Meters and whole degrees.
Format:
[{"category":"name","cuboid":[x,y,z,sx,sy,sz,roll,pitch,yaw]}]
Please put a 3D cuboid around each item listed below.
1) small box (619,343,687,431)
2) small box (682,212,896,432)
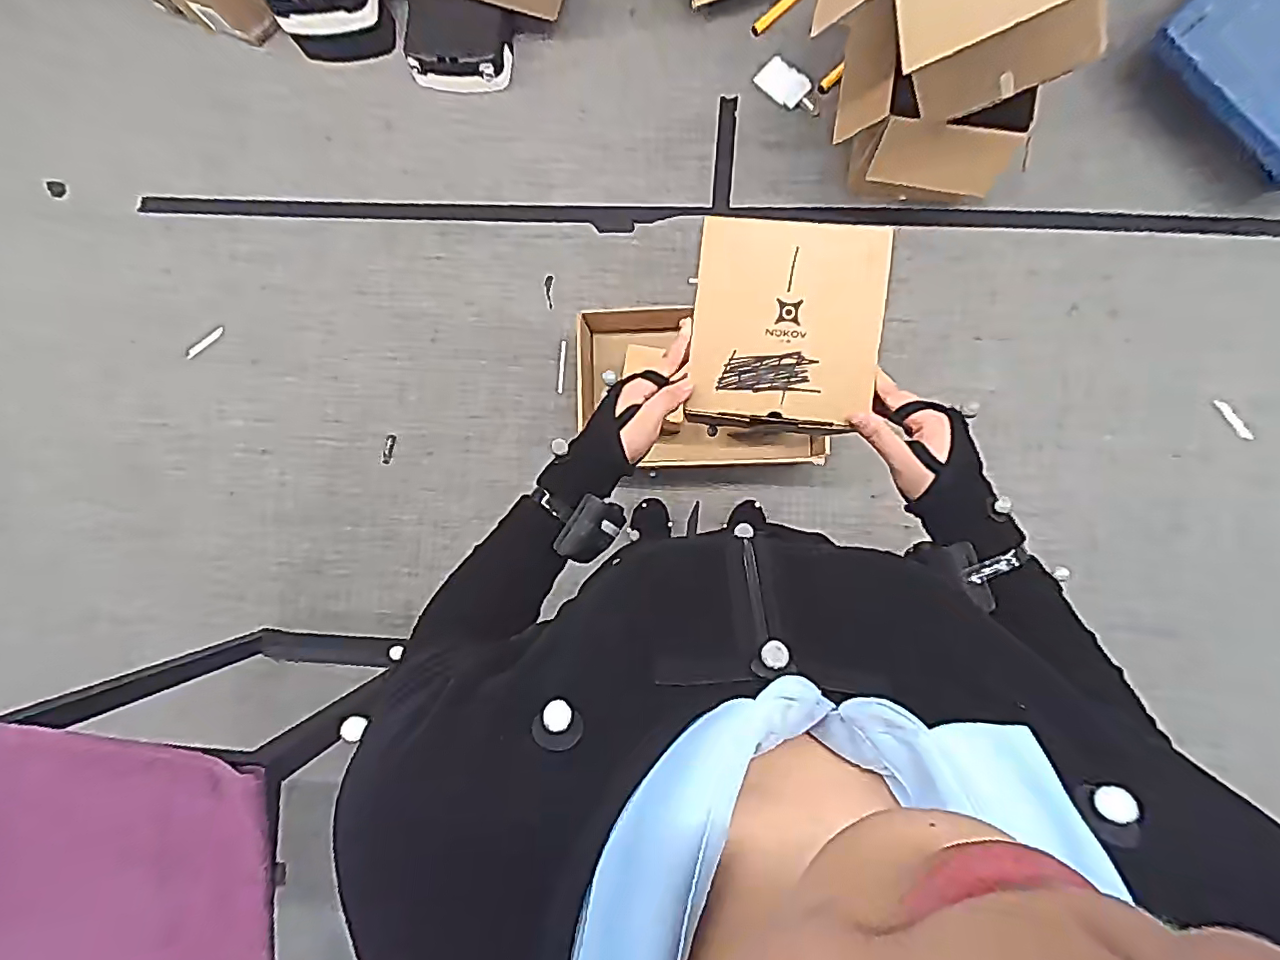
[{"category":"small box","cuboid":[0.044,-0.234,1.397,0.168,0.176,0.179,9,88,3]},{"category":"small box","cuboid":[0.136,-0.144,0.550,0.168,0.176,0.179,6,93,5]}]
